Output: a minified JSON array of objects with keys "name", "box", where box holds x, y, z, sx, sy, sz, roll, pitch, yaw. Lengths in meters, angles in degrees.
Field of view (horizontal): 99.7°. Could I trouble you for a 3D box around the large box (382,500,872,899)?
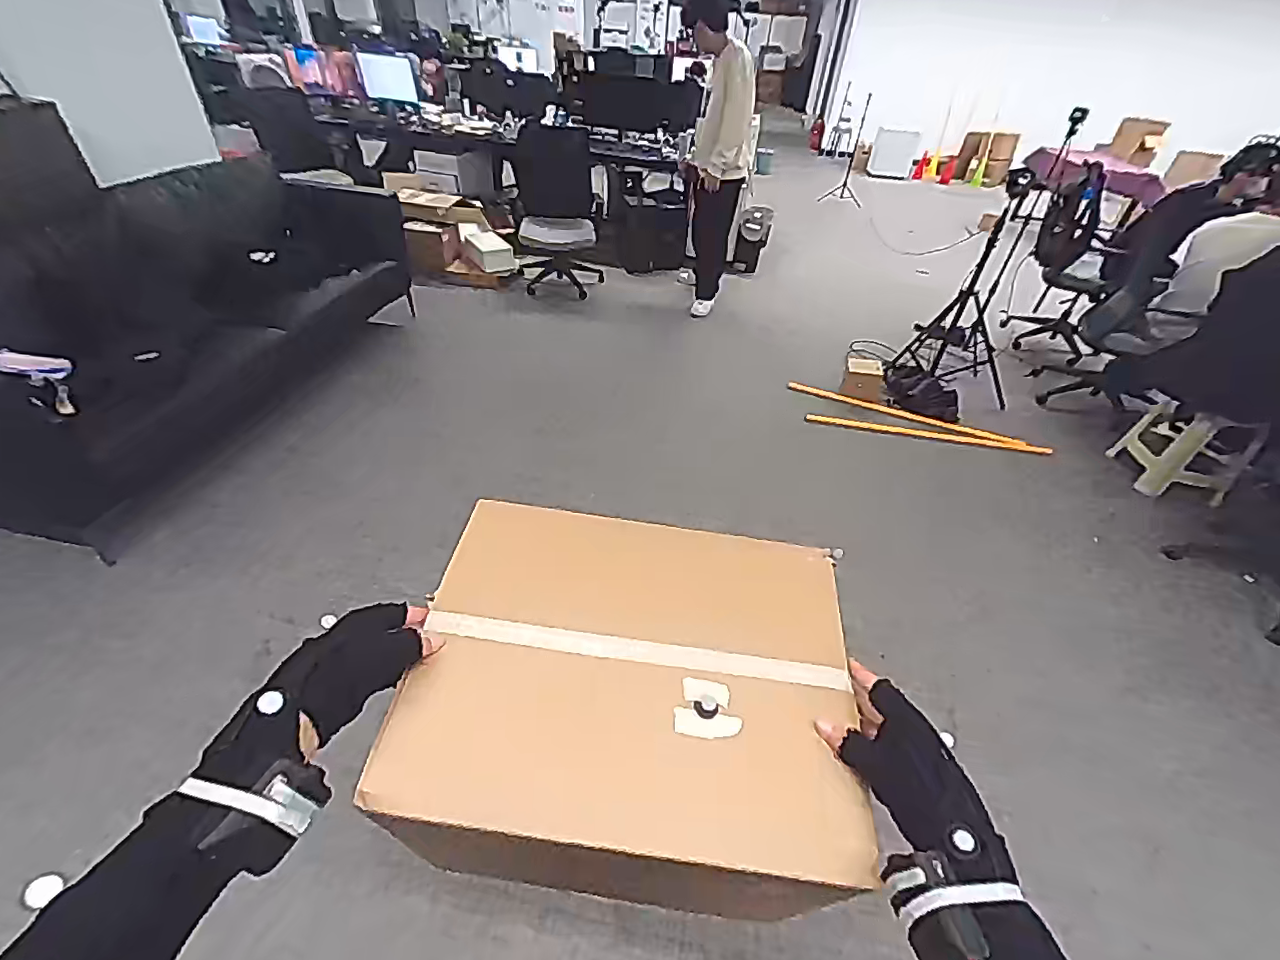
[{"name":"large box","box":[-0.012,0.260,0.635,0.408,0.320,0.320,9,48,0]}]
